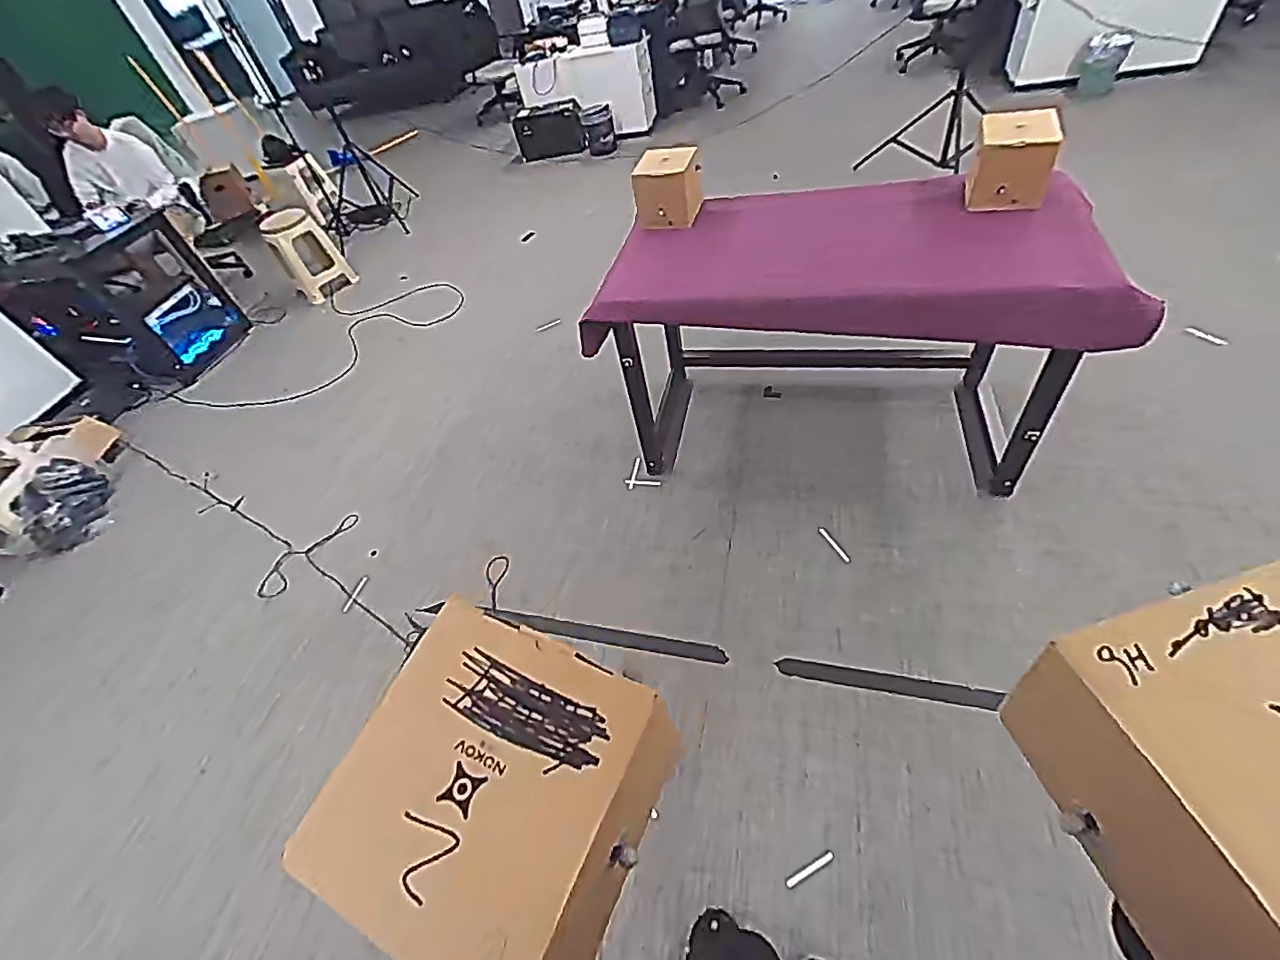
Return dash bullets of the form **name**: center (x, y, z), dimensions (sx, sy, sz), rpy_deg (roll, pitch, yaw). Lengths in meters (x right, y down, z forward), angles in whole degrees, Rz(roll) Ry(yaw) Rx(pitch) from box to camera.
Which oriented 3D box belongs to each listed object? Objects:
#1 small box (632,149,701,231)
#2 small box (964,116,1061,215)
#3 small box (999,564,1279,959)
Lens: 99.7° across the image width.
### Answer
- **small box**: center (0.090, -0.899, 1.680), dimensions (0.168, 0.176, 0.179), rpy_deg (8, 54, 19)
- **small box**: center (0.964, -0.821, 1.416), dimensions (0.168, 0.176, 0.179), rpy_deg (8, 56, 19)
- **small box**: center (0.376, 0.185, 0.345), dimensions (0.168, 0.176, 0.179), rpy_deg (-20, 49, 3)
